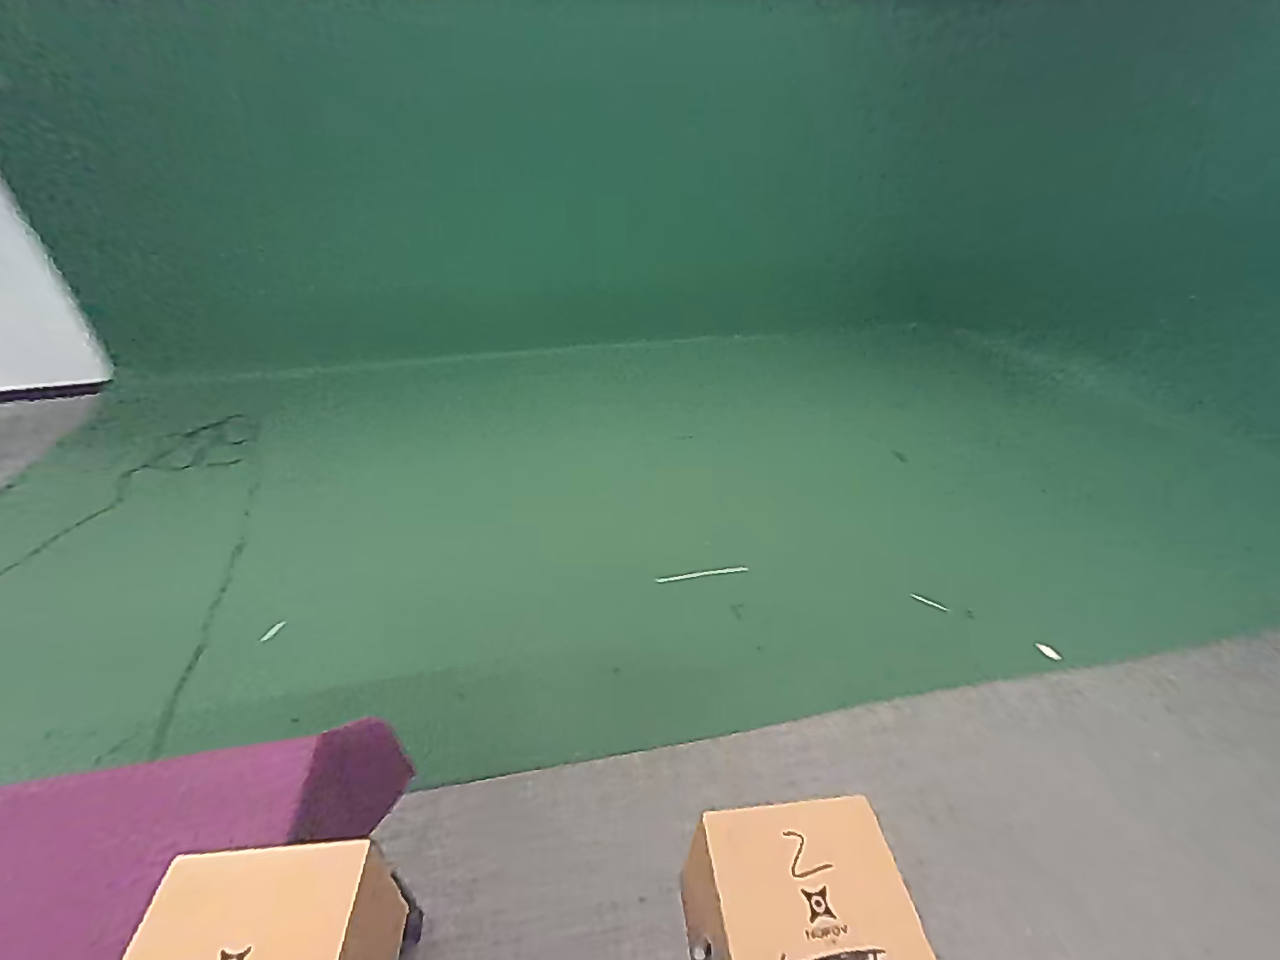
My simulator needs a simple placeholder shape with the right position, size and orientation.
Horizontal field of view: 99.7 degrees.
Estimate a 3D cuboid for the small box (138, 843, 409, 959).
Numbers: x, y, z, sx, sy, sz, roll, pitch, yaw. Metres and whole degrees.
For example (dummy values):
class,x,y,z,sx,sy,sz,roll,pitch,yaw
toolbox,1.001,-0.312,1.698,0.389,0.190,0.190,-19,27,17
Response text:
class,x,y,z,sx,sy,sz,roll,pitch,yaw
small box,-0.310,0.444,0.461,0.168,0.176,0.179,0,36,-5
